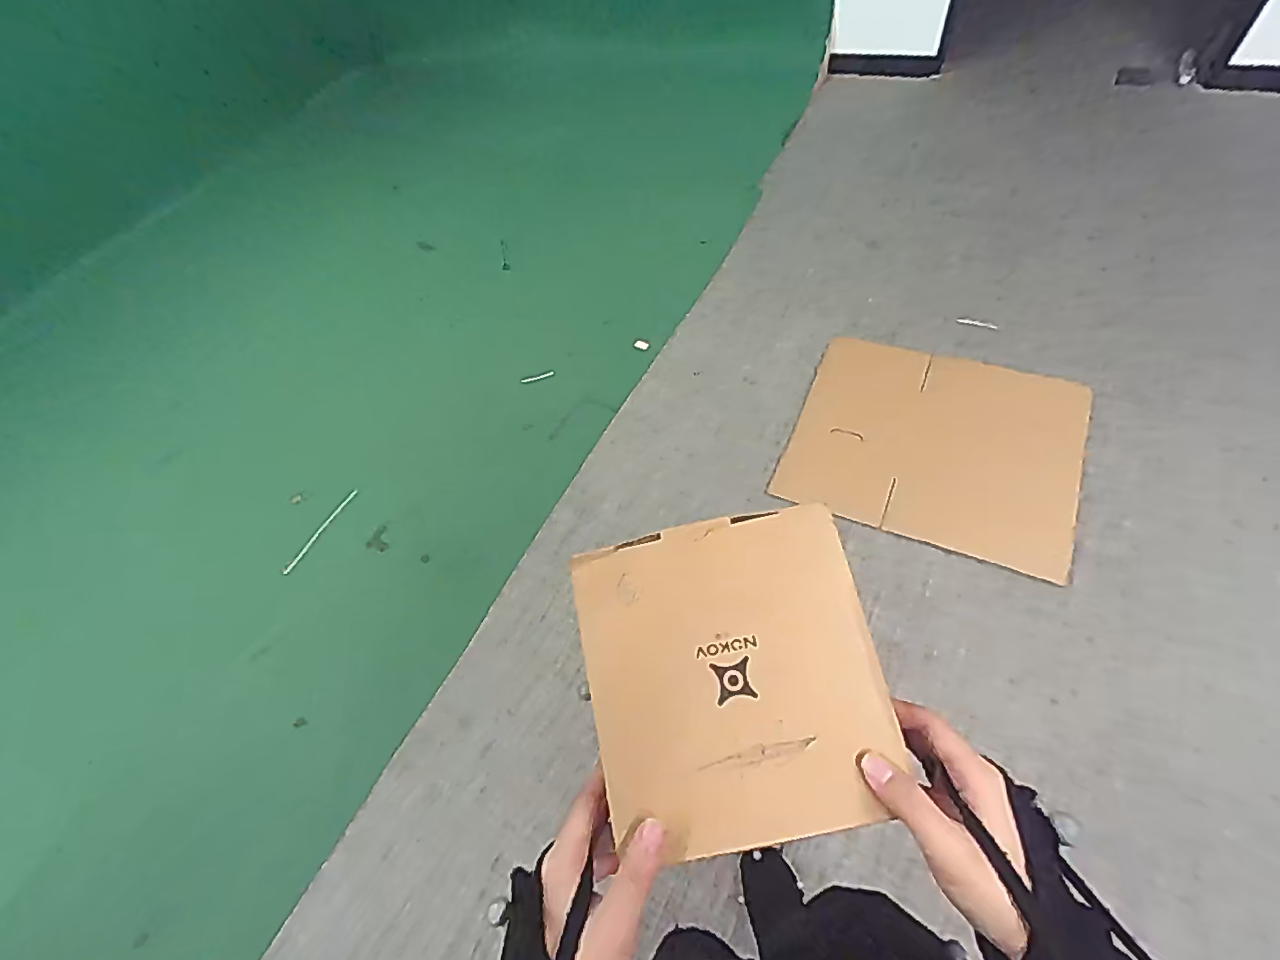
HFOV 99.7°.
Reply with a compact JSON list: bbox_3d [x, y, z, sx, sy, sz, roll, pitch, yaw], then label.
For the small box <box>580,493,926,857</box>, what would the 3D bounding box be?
[{"bbox_3d":[0.062,0.126,0.385,0.168,0.176,0.179,-12,74,2],"label":"small box"}]
